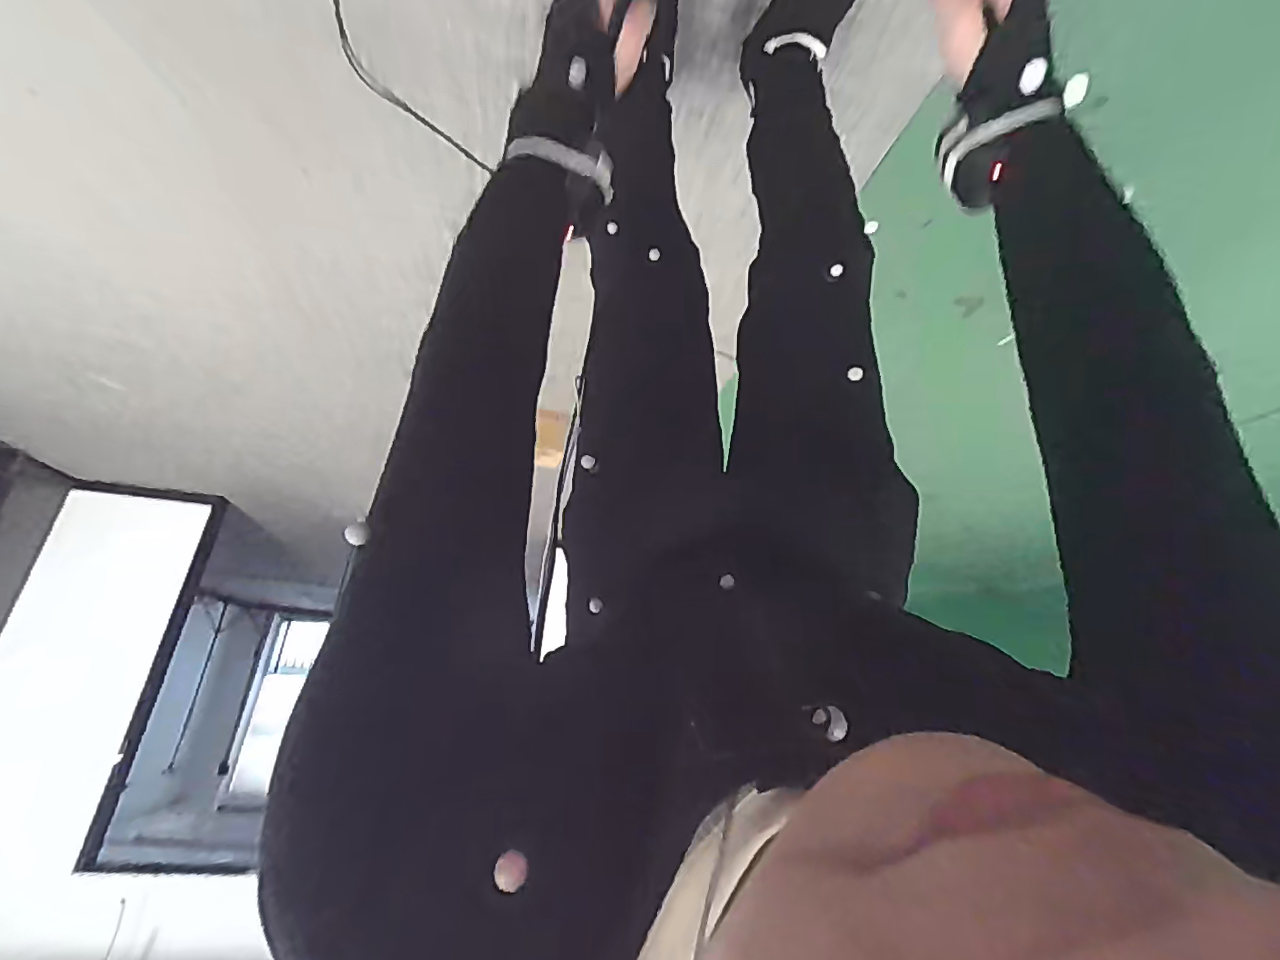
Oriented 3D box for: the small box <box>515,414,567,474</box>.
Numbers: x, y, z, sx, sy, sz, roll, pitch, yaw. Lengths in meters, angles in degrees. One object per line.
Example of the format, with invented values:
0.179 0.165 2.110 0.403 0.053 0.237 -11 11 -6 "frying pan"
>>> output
-0.390 -0.143 2.138 0.168 0.176 0.179 12 157 -15 "small box"
